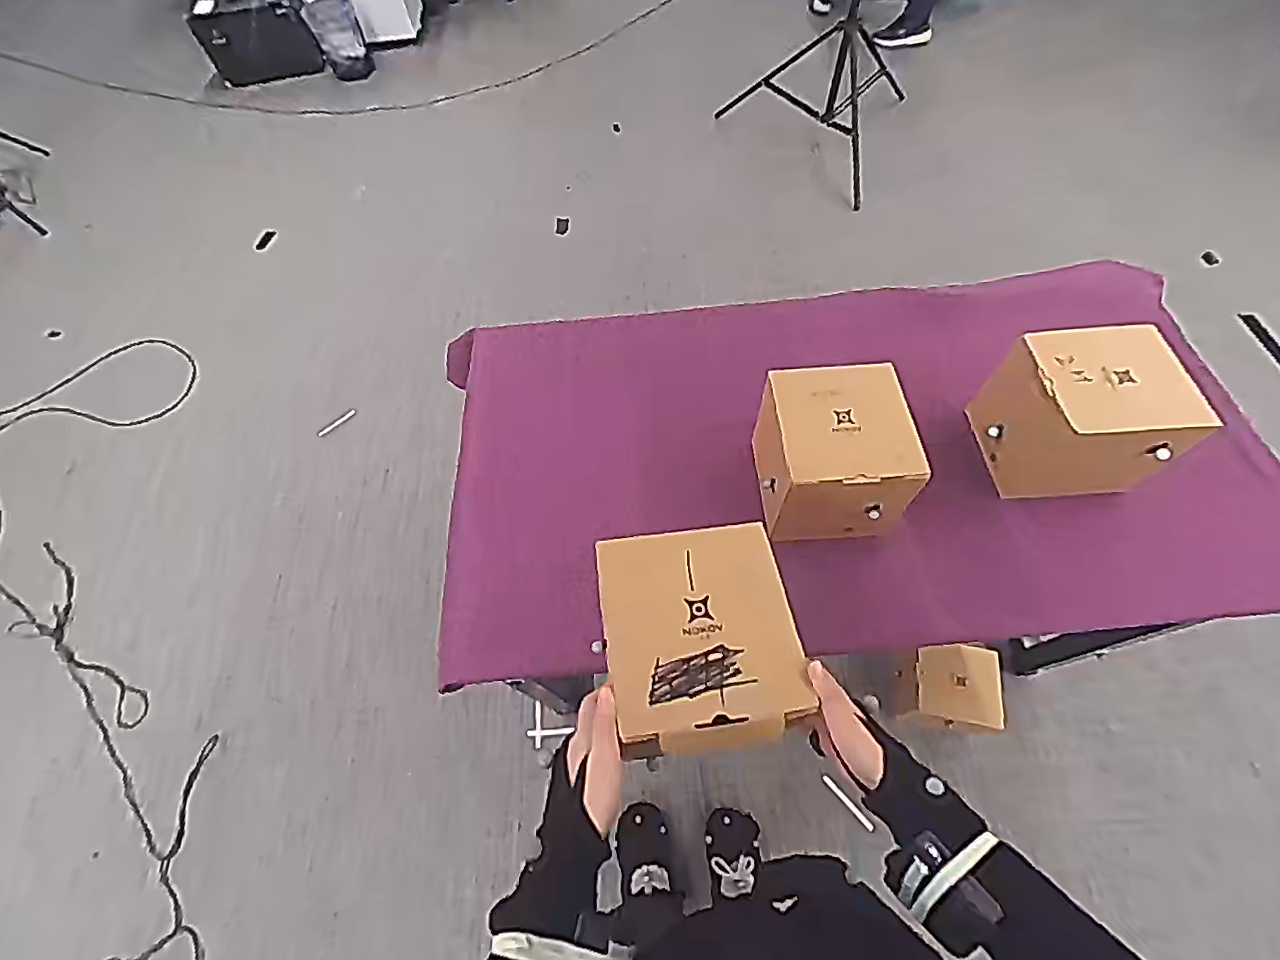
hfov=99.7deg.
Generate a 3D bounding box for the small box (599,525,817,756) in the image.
[{"bbox_3d":[0.050,0.166,0.538,0.168,0.176,0.179,-5,57,-7],"label":"small box"}]

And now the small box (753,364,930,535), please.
[{"bbox_3d":[0.257,-0.033,0.739,0.168,0.176,0.179,-4,59,0],"label":"small box"}]

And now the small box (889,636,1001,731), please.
[{"bbox_3d":[0.705,0.480,1.264,0.179,0.176,0.168,9,63,10],"label":"small box"}]

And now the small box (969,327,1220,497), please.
[{"bbox_3d":[0.602,-0.087,0.747,0.179,0.176,0.168,-4,60,2],"label":"small box"}]
